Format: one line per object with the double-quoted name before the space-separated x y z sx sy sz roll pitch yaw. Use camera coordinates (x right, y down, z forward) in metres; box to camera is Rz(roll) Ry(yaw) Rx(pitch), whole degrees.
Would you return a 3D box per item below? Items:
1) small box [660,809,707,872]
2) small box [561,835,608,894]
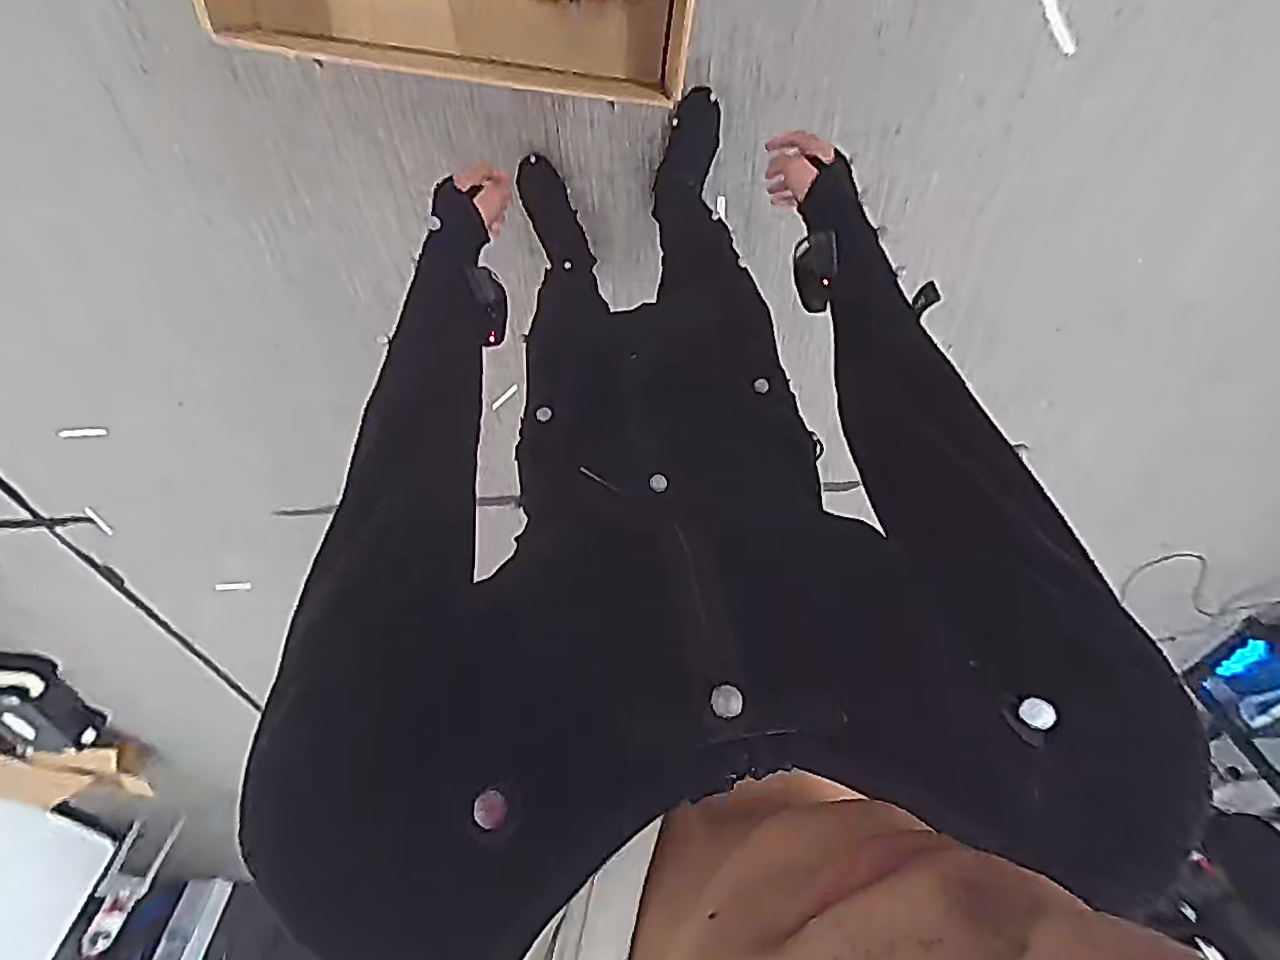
"small box" 0.164 1.389 2.085 0.168 0.176 0.179 -3 132 0
"small box" -0.227 1.600 2.256 0.179 0.176 0.168 -6 131 1
